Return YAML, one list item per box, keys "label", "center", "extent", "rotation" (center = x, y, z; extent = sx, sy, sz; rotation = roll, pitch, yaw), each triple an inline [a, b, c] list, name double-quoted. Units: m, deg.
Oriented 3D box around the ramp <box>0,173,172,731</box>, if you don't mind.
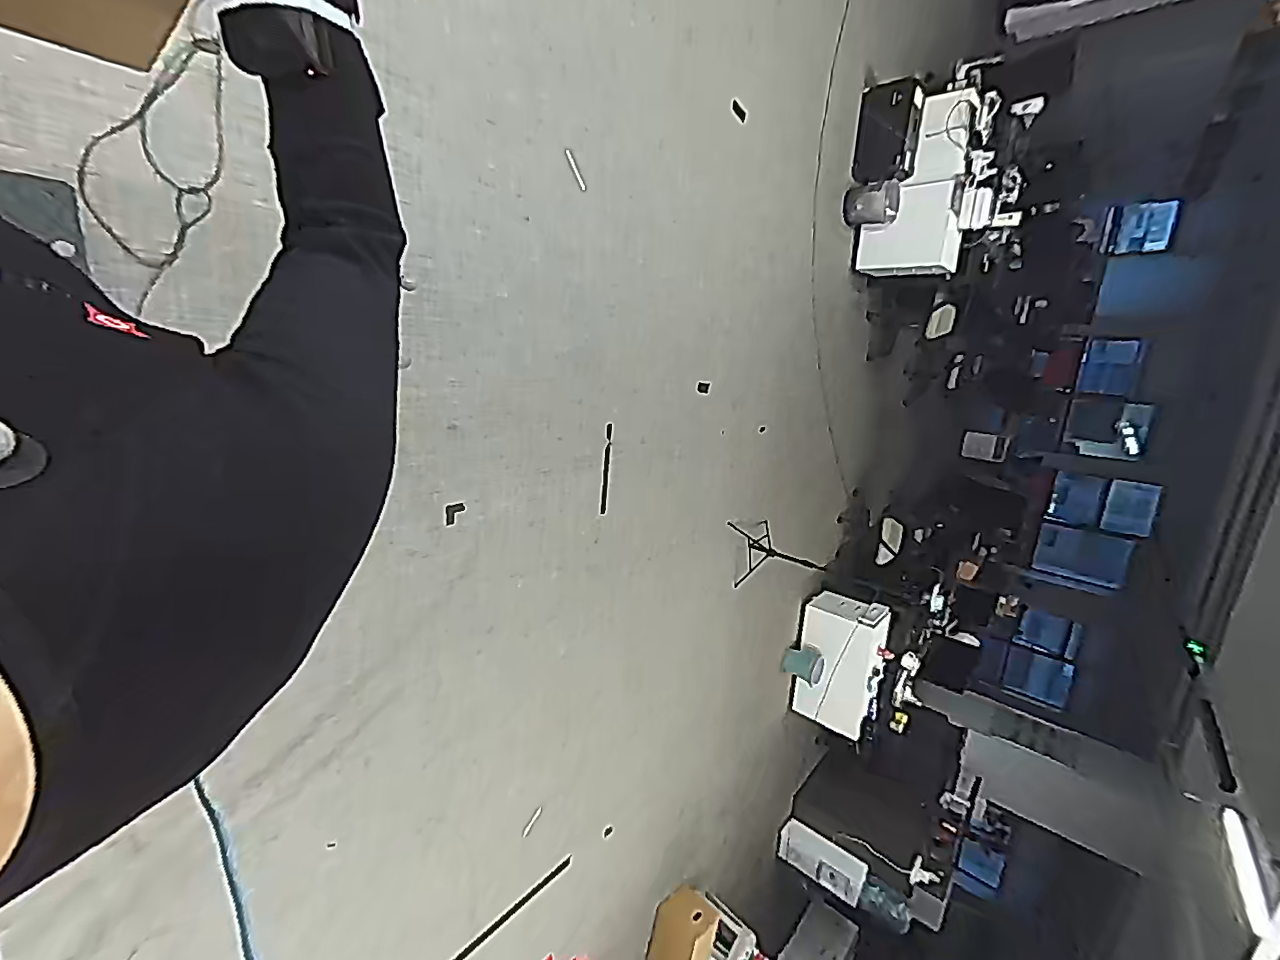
- label: "ramp"
  center: [-1.206, -0.036, 0.922]
  extent: [0.509, 0.206, 0.991]
  rotation: [-14, 112, -46]
